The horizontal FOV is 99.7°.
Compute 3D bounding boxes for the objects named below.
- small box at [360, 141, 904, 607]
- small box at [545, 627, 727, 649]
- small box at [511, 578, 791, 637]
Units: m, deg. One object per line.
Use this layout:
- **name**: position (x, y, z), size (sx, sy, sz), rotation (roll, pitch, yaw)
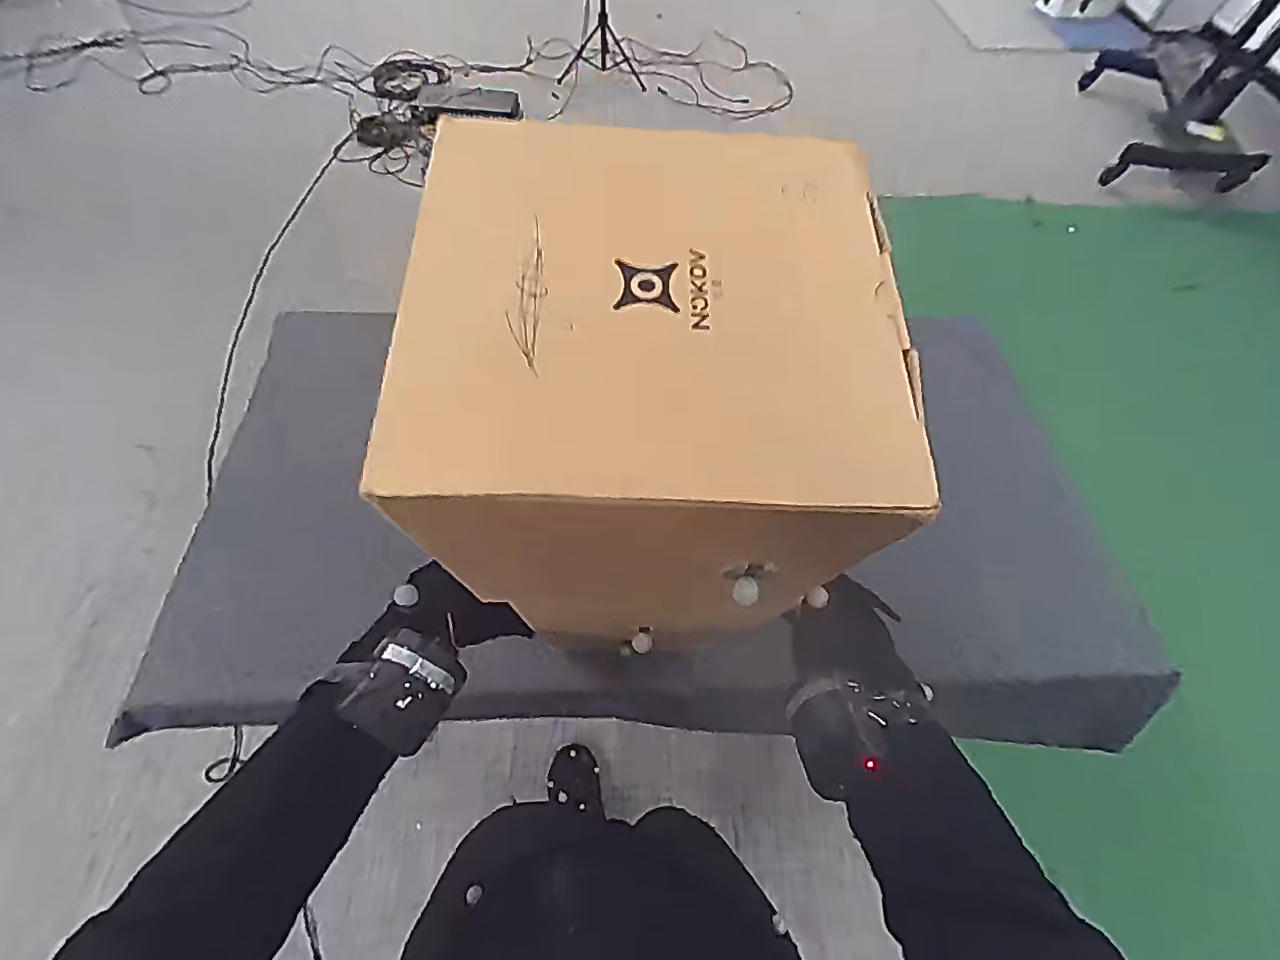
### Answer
- **small box**: position (-0.004, -0.034, 0.274), size (0.179, 0.176, 0.168), rotation (0, 66, -2)
- **small box**: position (-0.009, 0.083, 0.576), size (0.179, 0.176, 0.168), rotation (3, 66, -2)
- **small box**: position (0.000, 0.026, 0.424), size (0.179, 0.176, 0.168), rotation (1, 66, -4)
